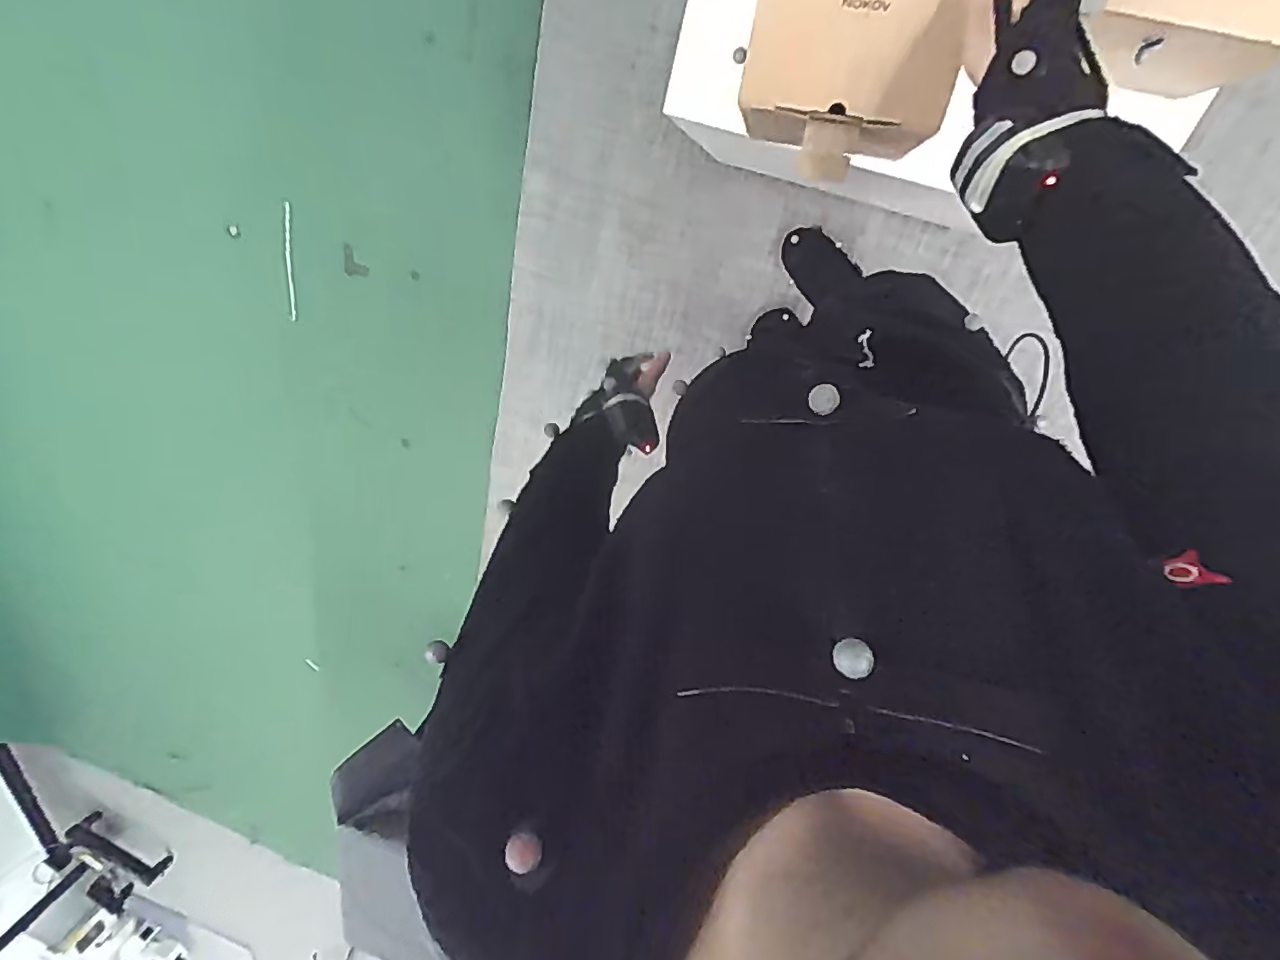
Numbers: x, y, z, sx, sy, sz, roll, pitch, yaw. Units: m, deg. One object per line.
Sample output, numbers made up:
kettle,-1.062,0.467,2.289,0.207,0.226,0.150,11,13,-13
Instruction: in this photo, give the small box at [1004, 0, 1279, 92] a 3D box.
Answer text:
small box,0.420,-0.417,0.405,0.179,0.176,0.168,18,120,7
